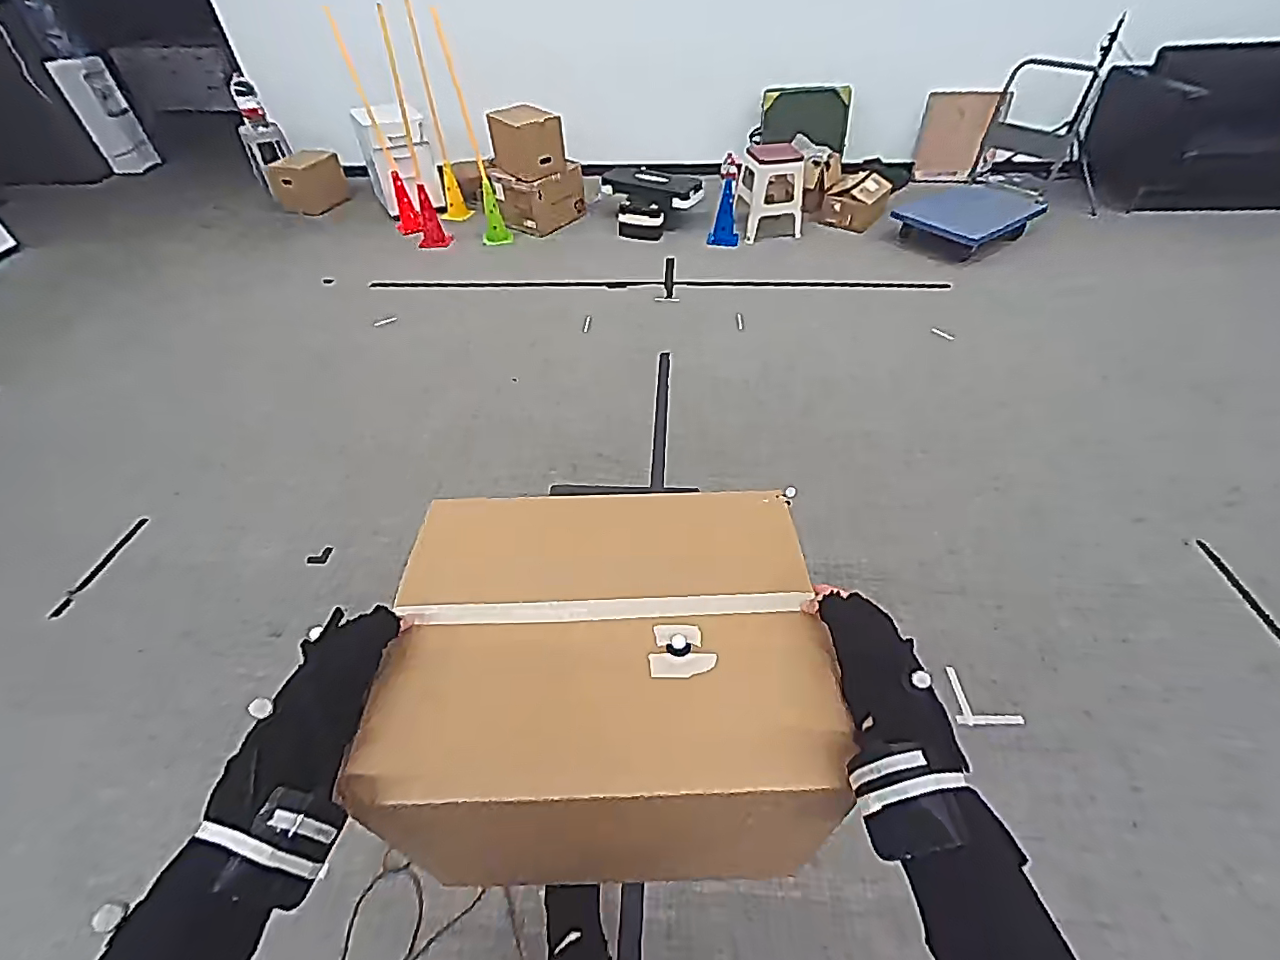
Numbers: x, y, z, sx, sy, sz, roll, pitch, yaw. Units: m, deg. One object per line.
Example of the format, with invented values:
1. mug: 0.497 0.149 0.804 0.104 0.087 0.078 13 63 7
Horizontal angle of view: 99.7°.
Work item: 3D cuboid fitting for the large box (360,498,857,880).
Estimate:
1. large box: -0.027 0.241 0.633 0.408 0.320 0.320 -1 44 0
